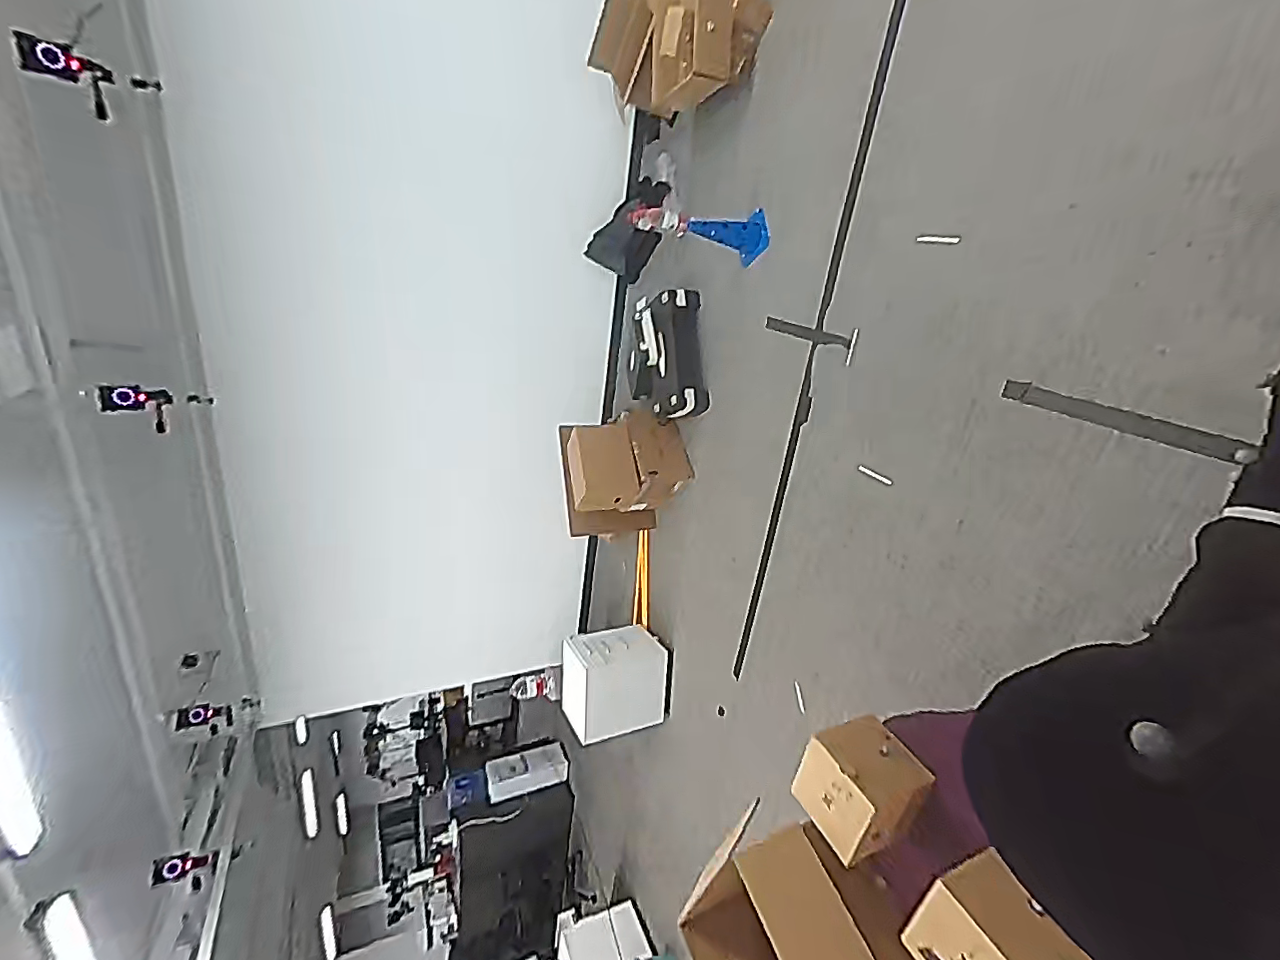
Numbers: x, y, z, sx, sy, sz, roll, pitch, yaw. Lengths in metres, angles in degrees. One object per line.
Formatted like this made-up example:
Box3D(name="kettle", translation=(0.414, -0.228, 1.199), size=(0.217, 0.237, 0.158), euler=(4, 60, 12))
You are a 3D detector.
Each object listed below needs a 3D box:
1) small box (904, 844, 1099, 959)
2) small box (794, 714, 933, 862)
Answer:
Box3D(name="small box", translation=(0.566, 0.728, 0.854), size=(0.168, 0.176, 0.179), euler=(46, 133, 53))
Box3D(name="small box", translation=(0.444, 0.606, 1.081), size=(0.168, 0.176, 0.179), euler=(46, 134, 52))
